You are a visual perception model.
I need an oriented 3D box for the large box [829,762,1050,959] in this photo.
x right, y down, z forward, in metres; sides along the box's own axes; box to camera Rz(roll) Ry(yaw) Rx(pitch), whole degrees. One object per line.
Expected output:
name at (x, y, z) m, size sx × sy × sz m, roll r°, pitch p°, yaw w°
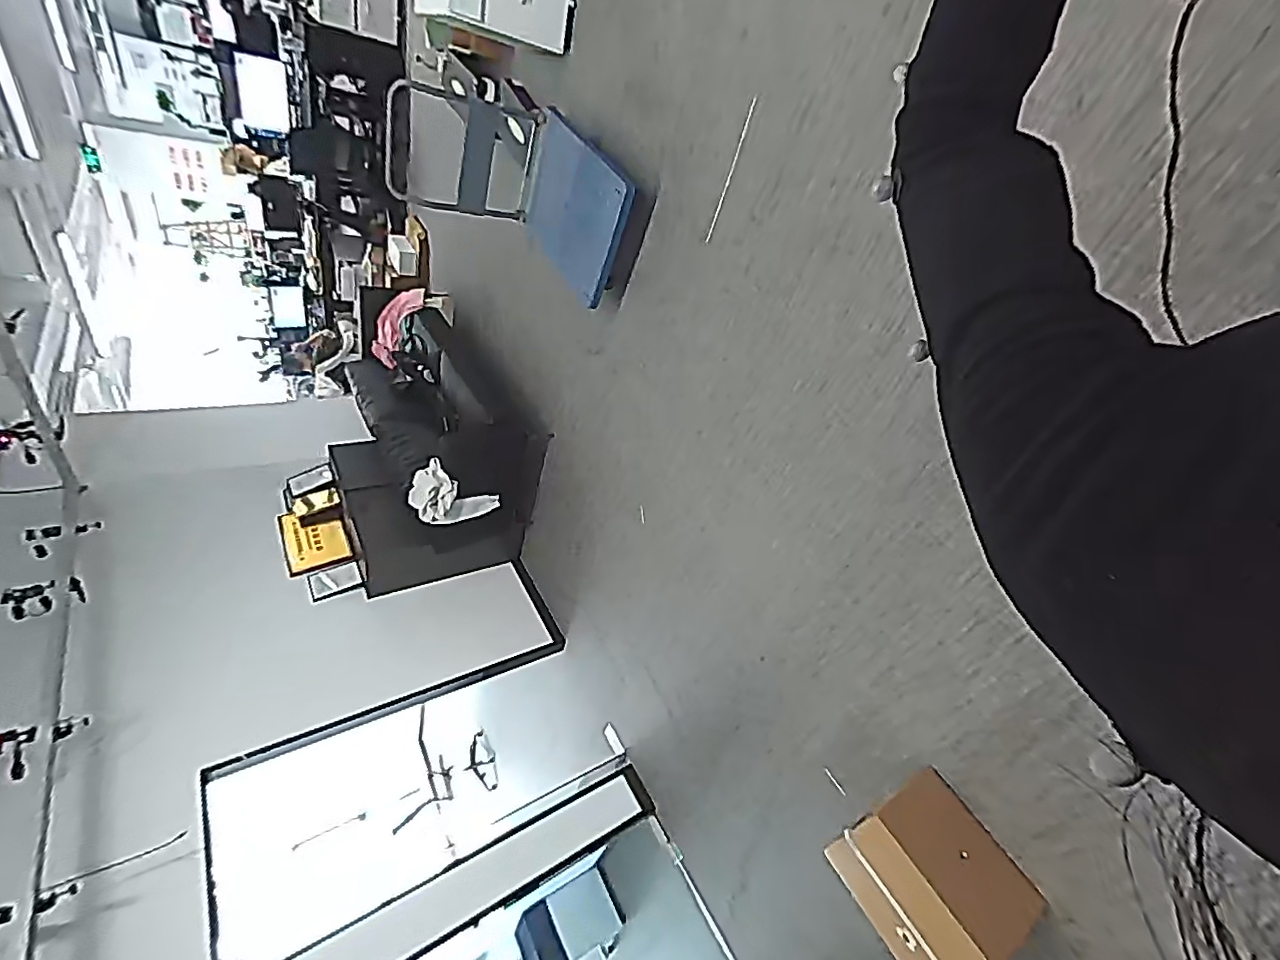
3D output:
large box at (0.853, 1.134, 1.577) m, size 0.408 × 0.320 × 0.320 m, roll 50°, pitch 137°, yaw 33°
